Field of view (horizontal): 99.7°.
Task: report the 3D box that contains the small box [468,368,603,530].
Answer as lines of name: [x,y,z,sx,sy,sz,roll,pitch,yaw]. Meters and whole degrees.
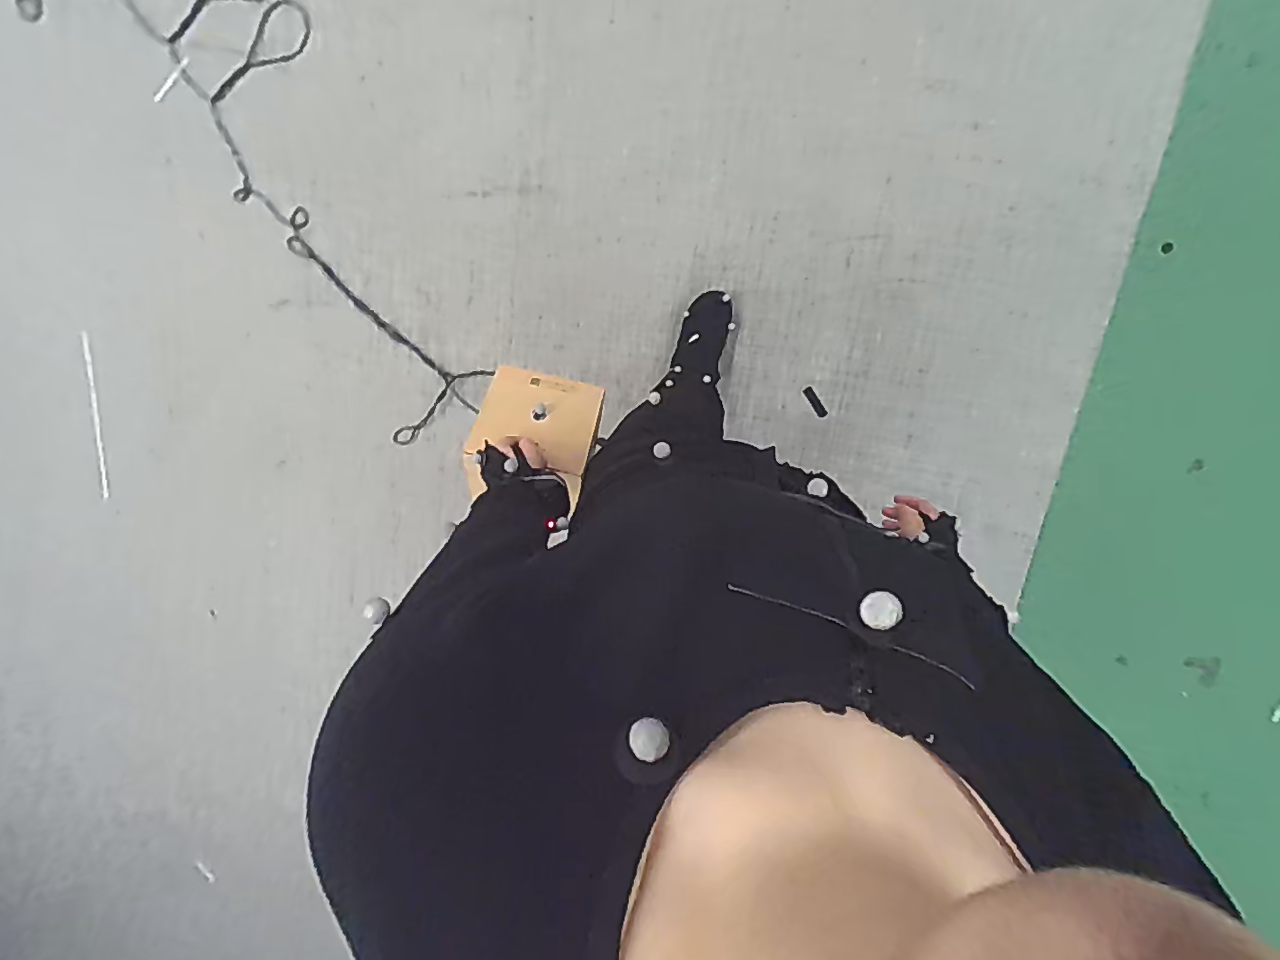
small box: [-0.155,-0.048,0.841,0.168,0.176,0.179,11,146,-3]
